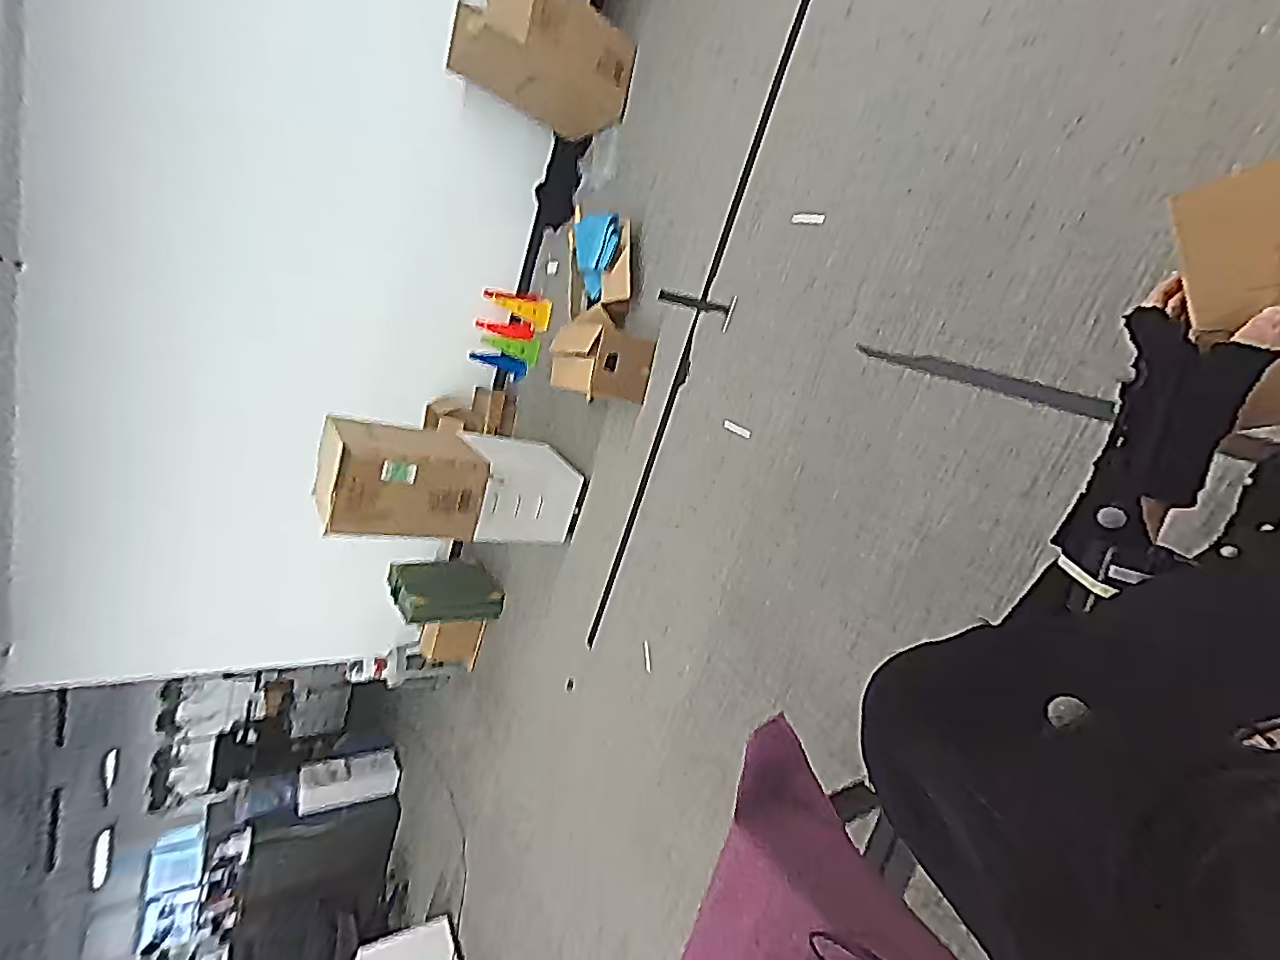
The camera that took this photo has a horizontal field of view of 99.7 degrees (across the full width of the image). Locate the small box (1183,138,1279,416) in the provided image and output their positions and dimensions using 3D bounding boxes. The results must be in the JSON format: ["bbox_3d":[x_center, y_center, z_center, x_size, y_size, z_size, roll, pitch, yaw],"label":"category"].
[{"bbox_3d":[0.488,-0.151,0.344,0.179,0.176,0.168,-13,93,50],"label":"small box"}]
